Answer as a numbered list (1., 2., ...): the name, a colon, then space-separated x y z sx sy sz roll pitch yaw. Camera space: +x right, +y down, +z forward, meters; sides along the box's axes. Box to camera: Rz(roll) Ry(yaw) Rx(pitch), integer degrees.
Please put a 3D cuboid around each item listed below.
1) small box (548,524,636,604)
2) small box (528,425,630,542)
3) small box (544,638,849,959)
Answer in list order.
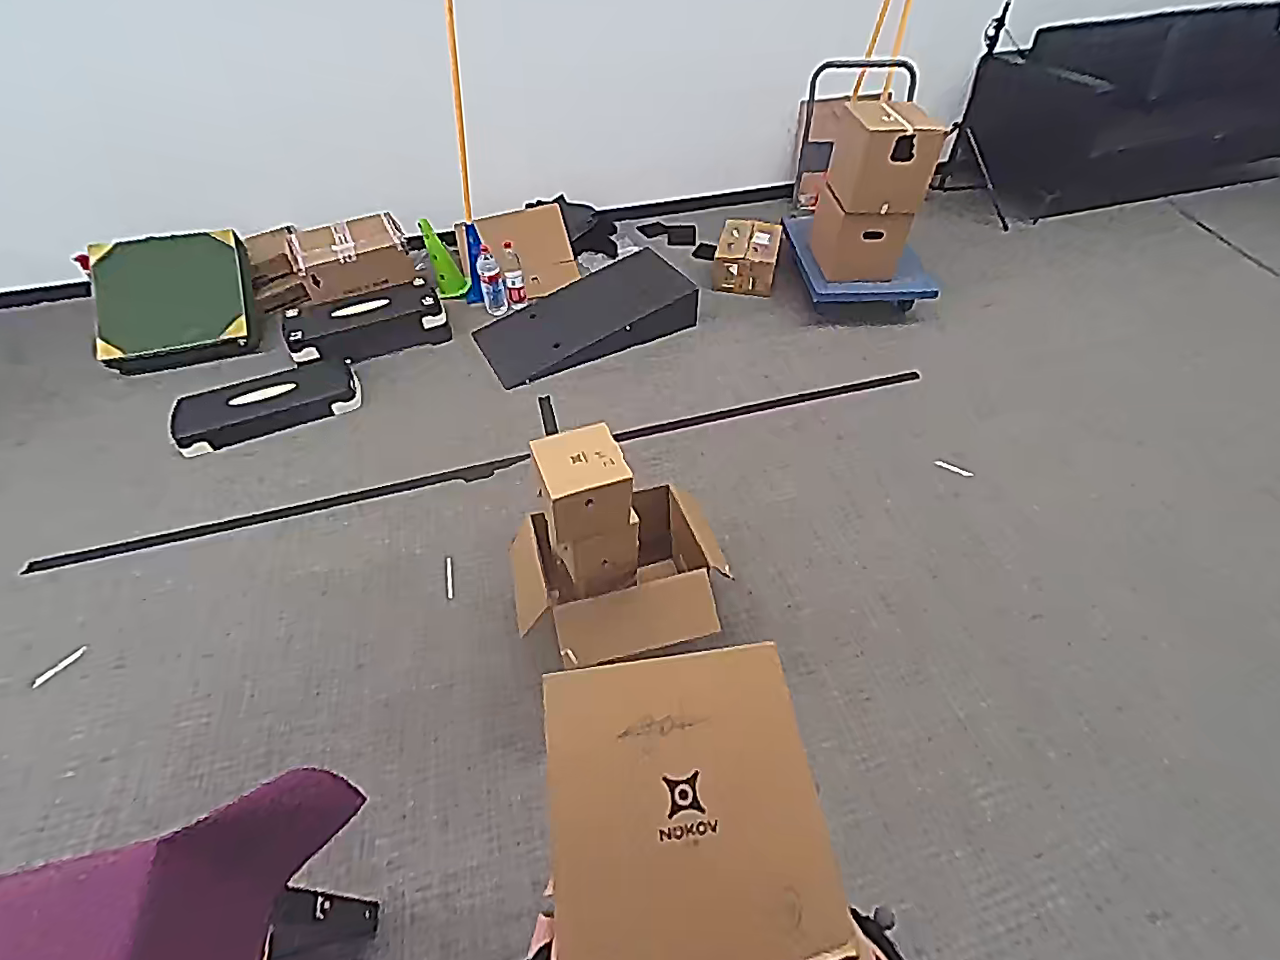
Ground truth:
1. small box: -0.126 0.199 1.445 0.179 0.176 0.168 -28 57 -25
2. small box: -0.131 0.012 1.173 0.179 0.176 0.168 -16 54 -17
3. small box: 0.023 0.234 0.399 0.168 0.176 0.179 -5 57 -6
